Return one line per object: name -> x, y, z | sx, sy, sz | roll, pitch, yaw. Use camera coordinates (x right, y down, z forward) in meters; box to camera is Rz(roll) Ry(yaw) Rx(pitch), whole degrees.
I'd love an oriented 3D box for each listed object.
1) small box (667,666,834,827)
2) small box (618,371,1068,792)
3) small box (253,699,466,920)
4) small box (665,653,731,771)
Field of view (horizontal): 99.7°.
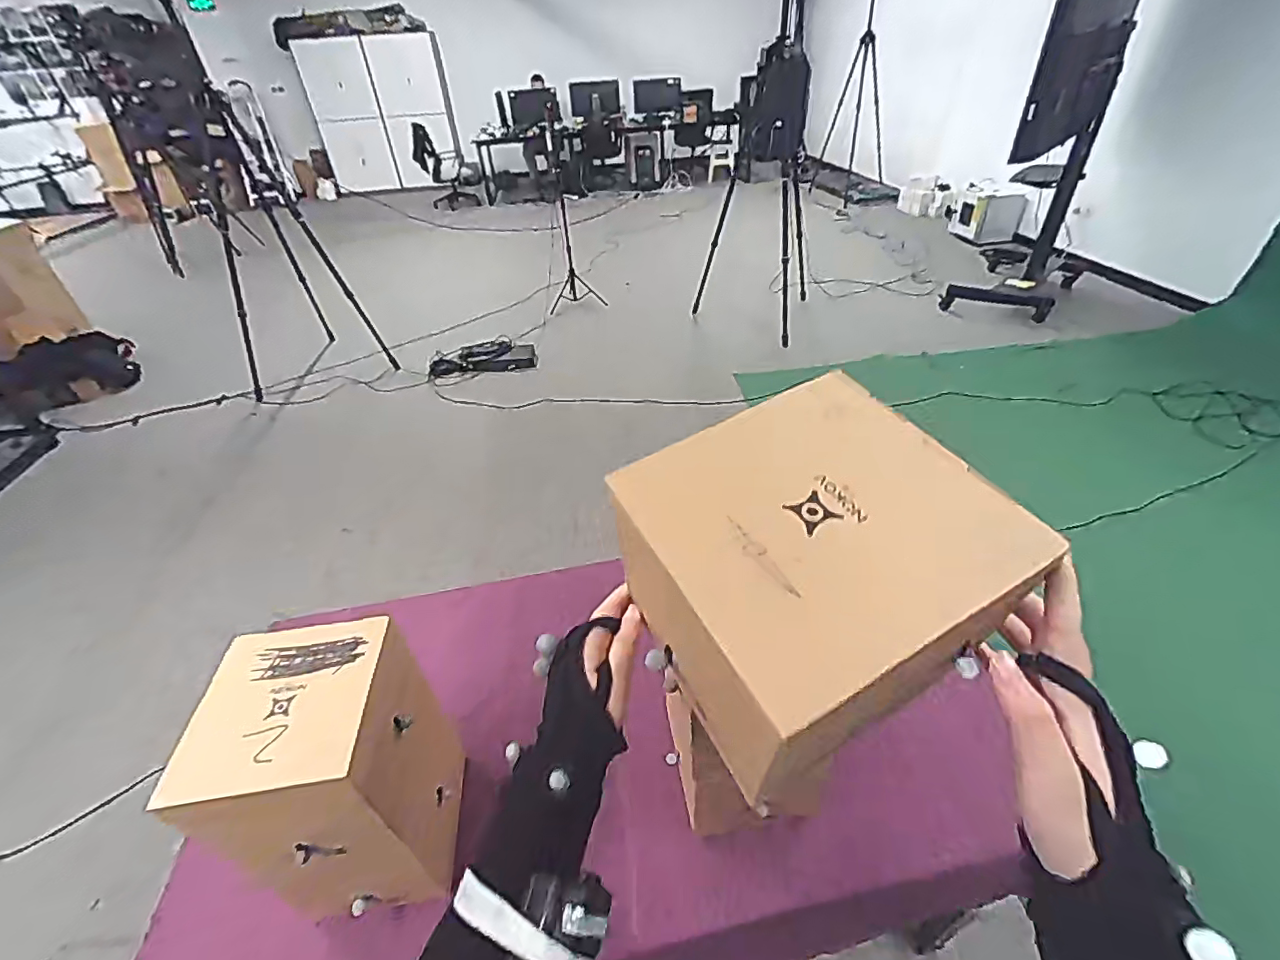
small box -> 0.134, 0.335, 0.720 | 0.168, 0.176, 0.179 | -8, 39, -6
small box -> 0.104, 0.066, 0.350 | 0.179, 0.176, 0.168 | -25, 52, -14
small box -> -0.325, 0.406, 0.673 | 0.168, 0.176, 0.179 | -8, 40, -4
small box -> 0.121, 0.206, 0.616 | 0.168, 0.176, 0.179 | -9, 38, -6
